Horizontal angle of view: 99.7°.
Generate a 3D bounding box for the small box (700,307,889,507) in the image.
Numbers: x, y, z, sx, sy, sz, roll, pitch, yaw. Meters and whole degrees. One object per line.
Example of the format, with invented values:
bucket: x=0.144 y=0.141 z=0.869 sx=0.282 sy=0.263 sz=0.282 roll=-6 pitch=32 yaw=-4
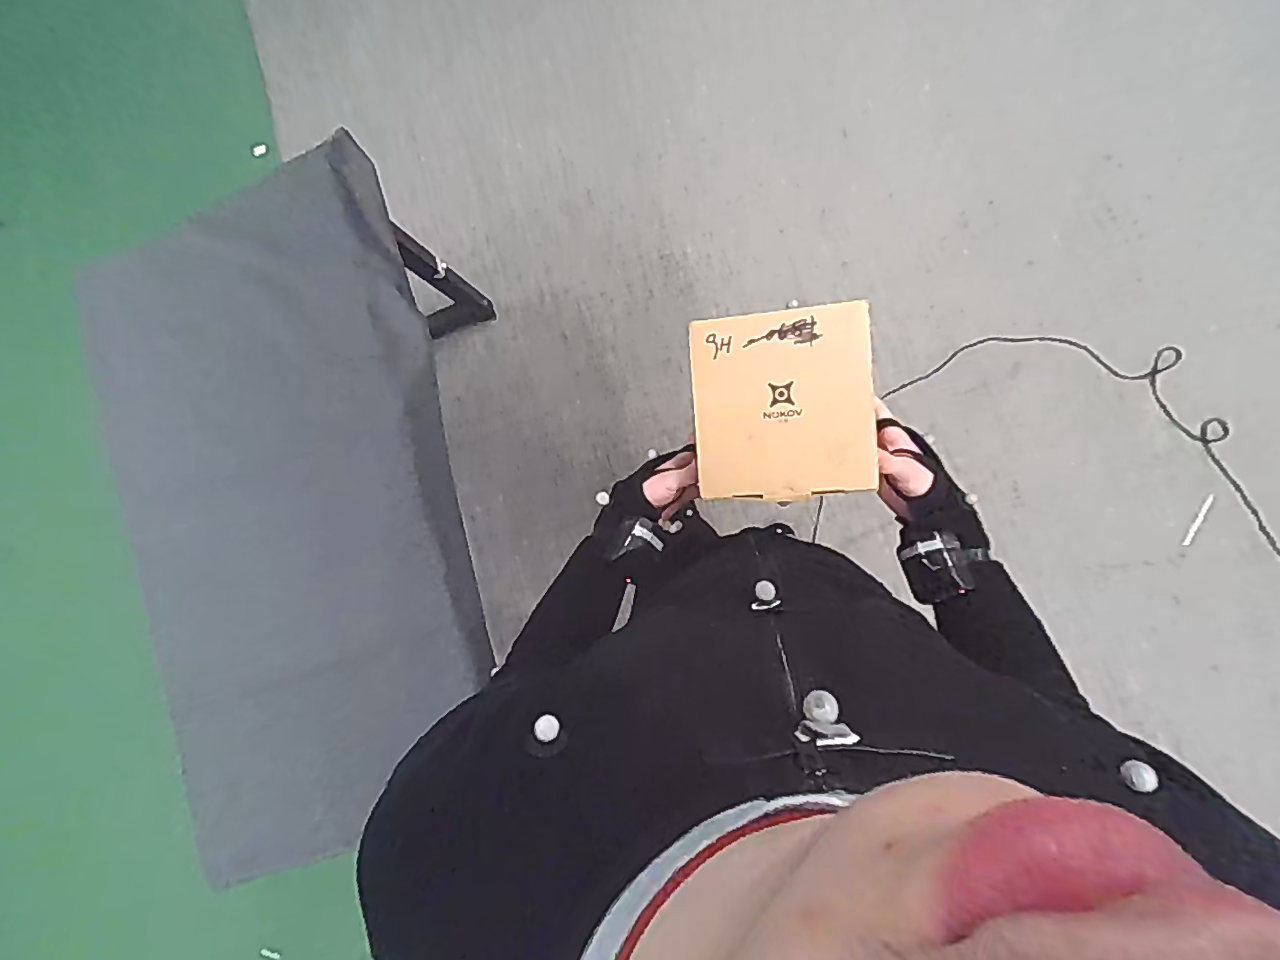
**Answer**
small box: x=0.160 y=-0.070 z=0.583 sx=0.168 sy=0.176 sz=0.179 roll=-4 pitch=91 yaw=13
